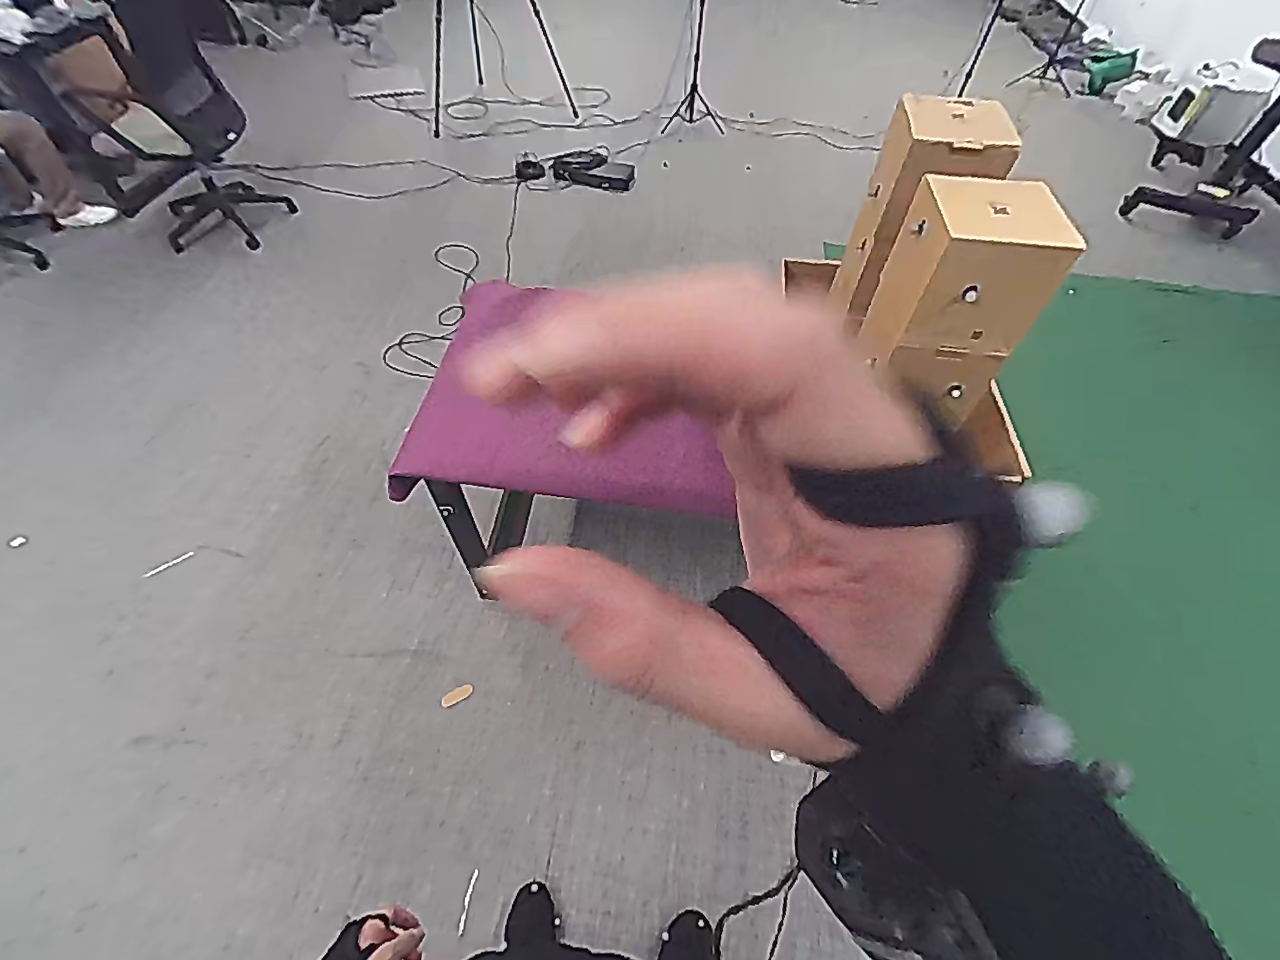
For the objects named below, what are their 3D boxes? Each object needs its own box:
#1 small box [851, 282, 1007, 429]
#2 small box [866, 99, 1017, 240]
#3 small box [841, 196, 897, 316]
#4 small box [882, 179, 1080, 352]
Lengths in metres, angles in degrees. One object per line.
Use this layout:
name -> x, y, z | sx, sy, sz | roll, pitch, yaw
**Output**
small box -> 0.469, -0.207, 0.910 | 0.168, 0.176, 0.179 | 7, 52, 4
small box -> 0.511, -0.530, 0.945 | 0.168, 0.176, 0.179 | 8, 56, 4
small box -> 0.511, -0.436, 1.079 | 0.168, 0.176, 0.179 | 8, 55, 4
small box -> 0.471, -0.306, 0.782 | 0.168, 0.176, 0.179 | 6, 52, 4
